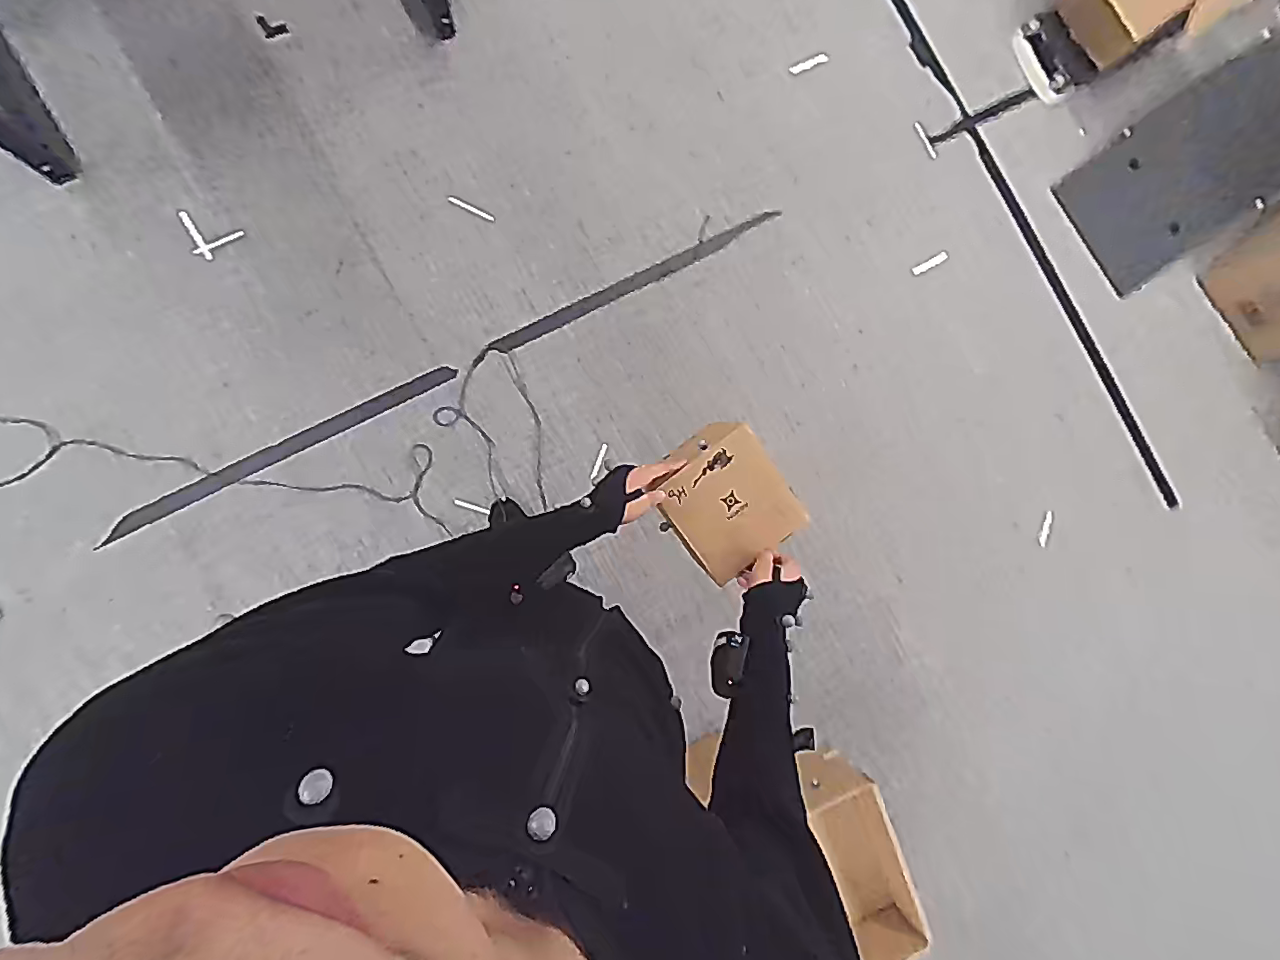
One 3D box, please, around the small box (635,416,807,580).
[{"bbox_3d":[0.112,0.016,0.819,0.168,0.176,0.179,-37,100,-3],"label":"small box"}]
